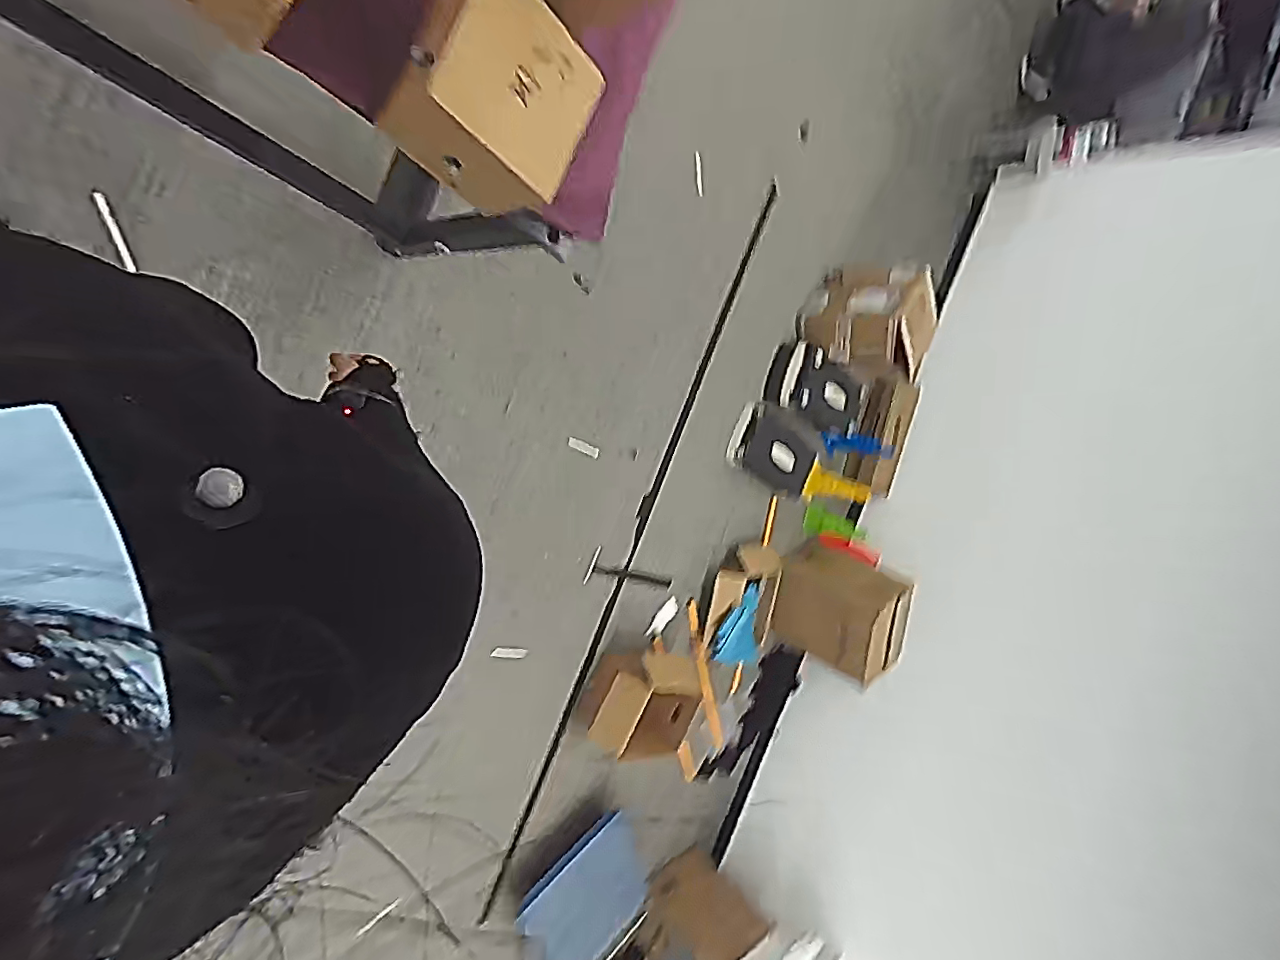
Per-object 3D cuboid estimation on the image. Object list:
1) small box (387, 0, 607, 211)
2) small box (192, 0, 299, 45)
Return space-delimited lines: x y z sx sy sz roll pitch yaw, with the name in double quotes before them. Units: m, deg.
"small box" -0.177 -0.454 0.653 0.168 0.176 0.179 28 84 -47
"small box" -0.354 -0.527 0.455 0.168 0.176 0.179 30 85 -46
